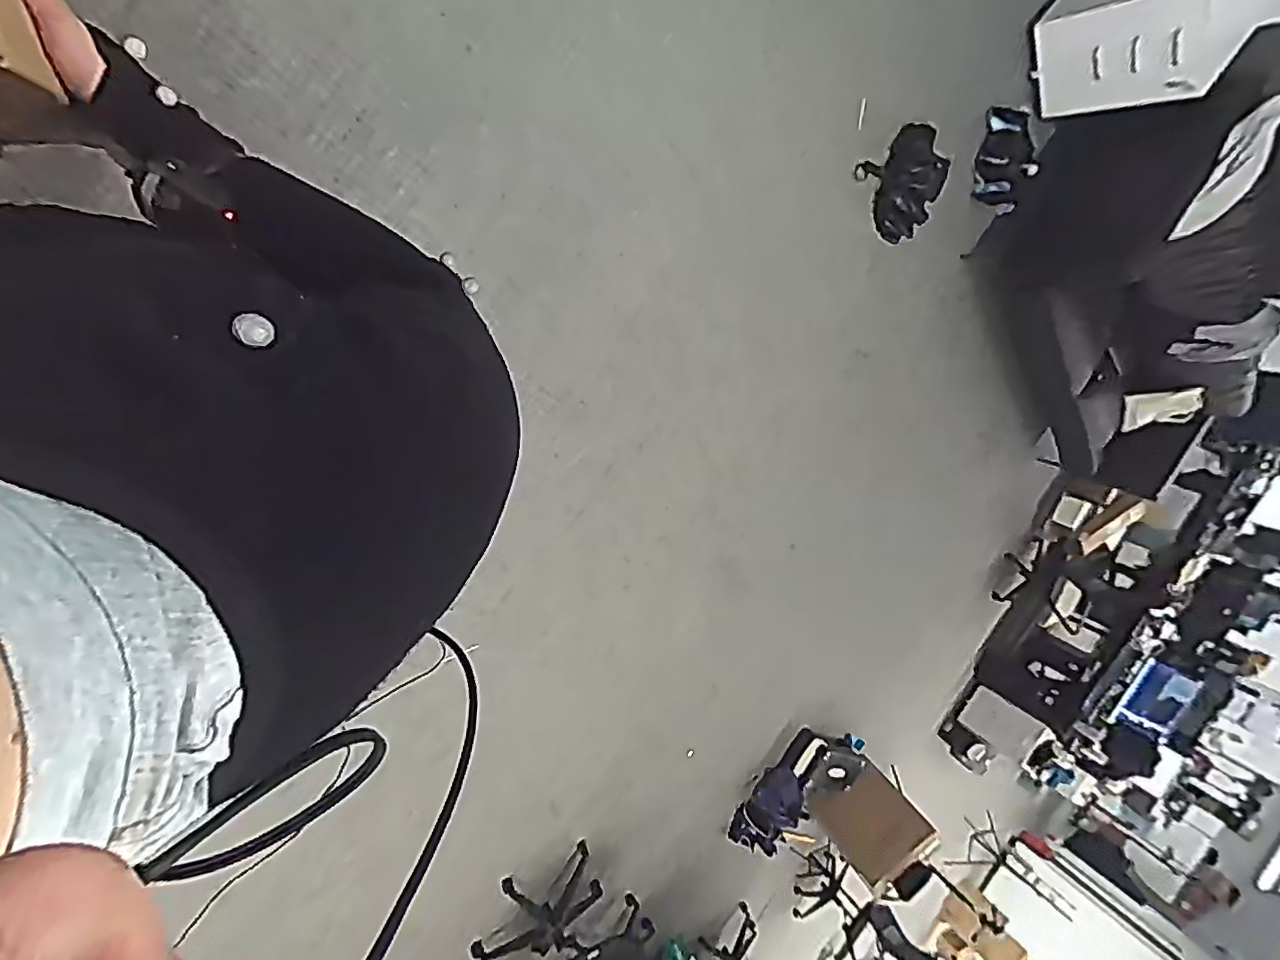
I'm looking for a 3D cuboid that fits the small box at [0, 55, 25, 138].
[{"bbox_3d":[-0.355,-0.209,0.157,0.168,0.176,0.179,-20,123,-28],"label":"small box"}]

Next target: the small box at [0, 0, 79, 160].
[{"bbox_3d":[-0.450,-0.269,0.278,0.168,0.176,0.179,-21,122,-28],"label":"small box"}]
